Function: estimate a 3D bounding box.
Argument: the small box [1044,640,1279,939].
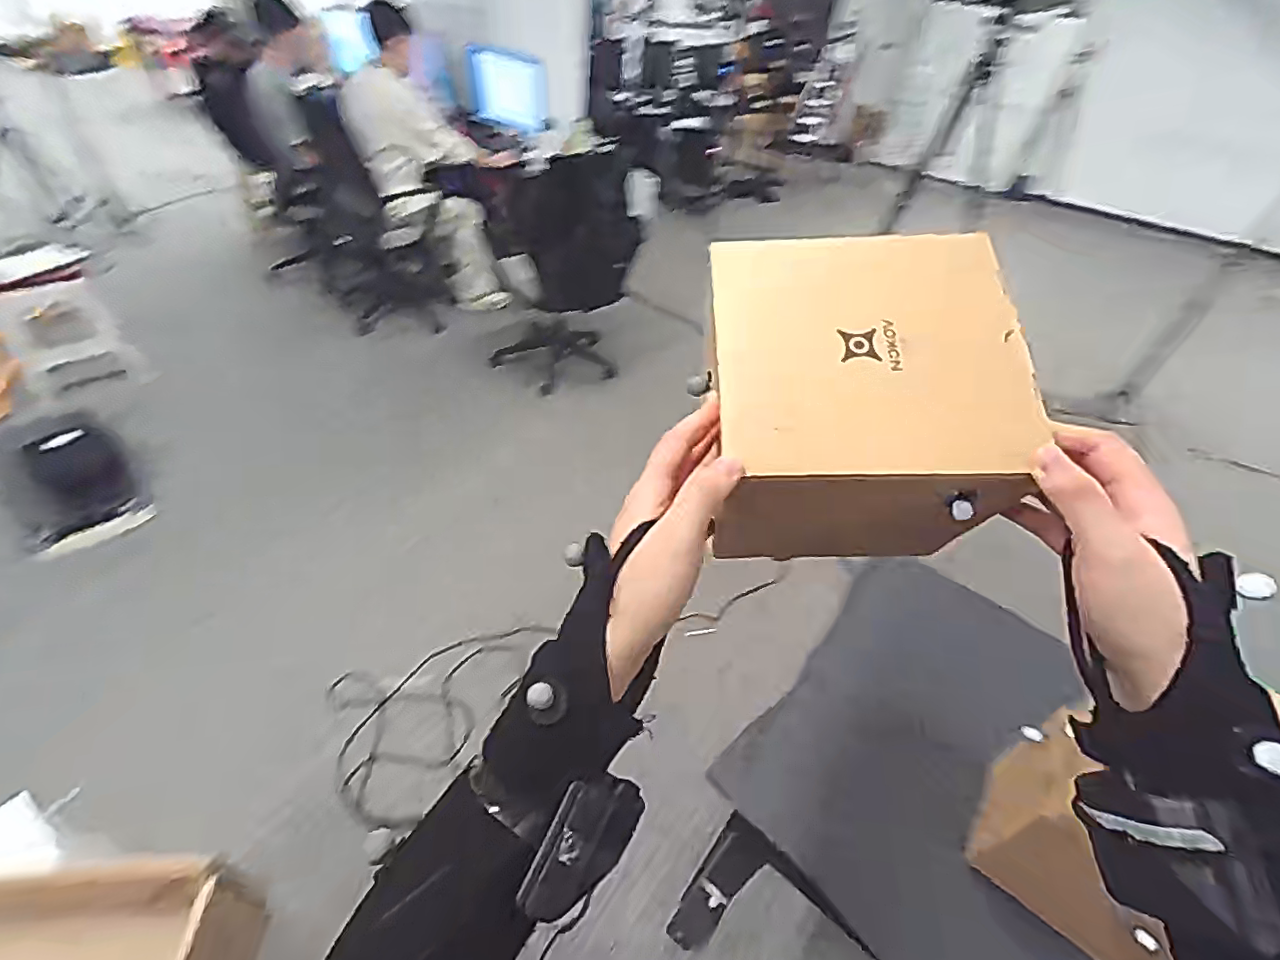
[{"bbox_3d":[0.552,0.303,0.532,0.179,0.176,0.168,33,47,25],"label":"small box"}]
